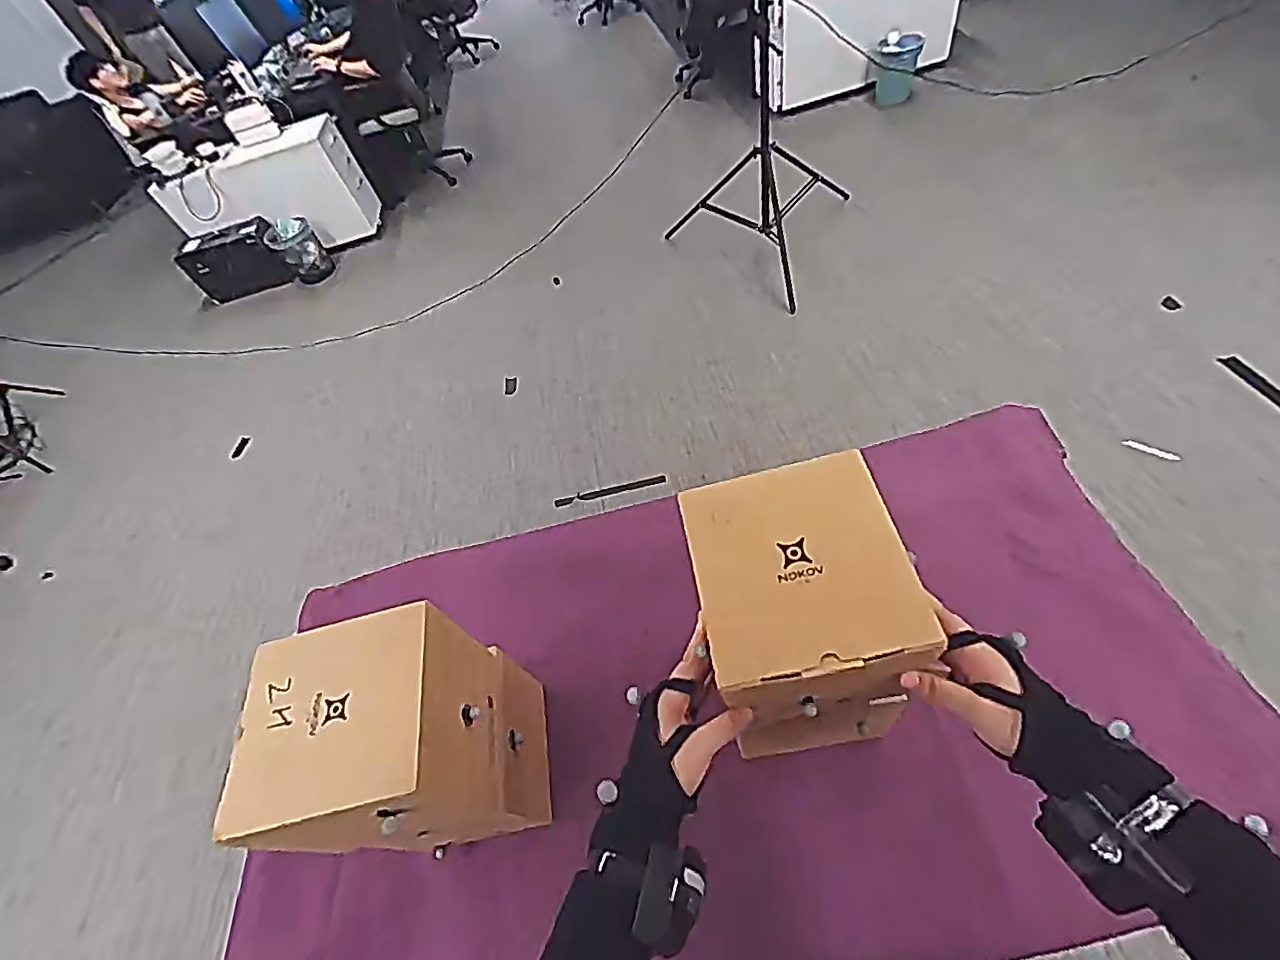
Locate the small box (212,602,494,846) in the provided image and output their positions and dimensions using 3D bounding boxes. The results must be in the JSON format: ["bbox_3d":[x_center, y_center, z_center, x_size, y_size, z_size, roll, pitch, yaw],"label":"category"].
[{"bbox_3d":[-0.254,0.245,0.533,0.179,0.176,0.168,-15,52,2],"label":"small box"}]

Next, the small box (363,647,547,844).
[{"bbox_3d":[-0.221,0.334,0.669,0.168,0.176,0.179,-15,52,3],"label":"small box"}]

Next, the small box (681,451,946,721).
[{"bbox_3d":[0.142,0.104,0.499,0.168,0.176,0.179,-14,56,6],"label":"small box"}]
